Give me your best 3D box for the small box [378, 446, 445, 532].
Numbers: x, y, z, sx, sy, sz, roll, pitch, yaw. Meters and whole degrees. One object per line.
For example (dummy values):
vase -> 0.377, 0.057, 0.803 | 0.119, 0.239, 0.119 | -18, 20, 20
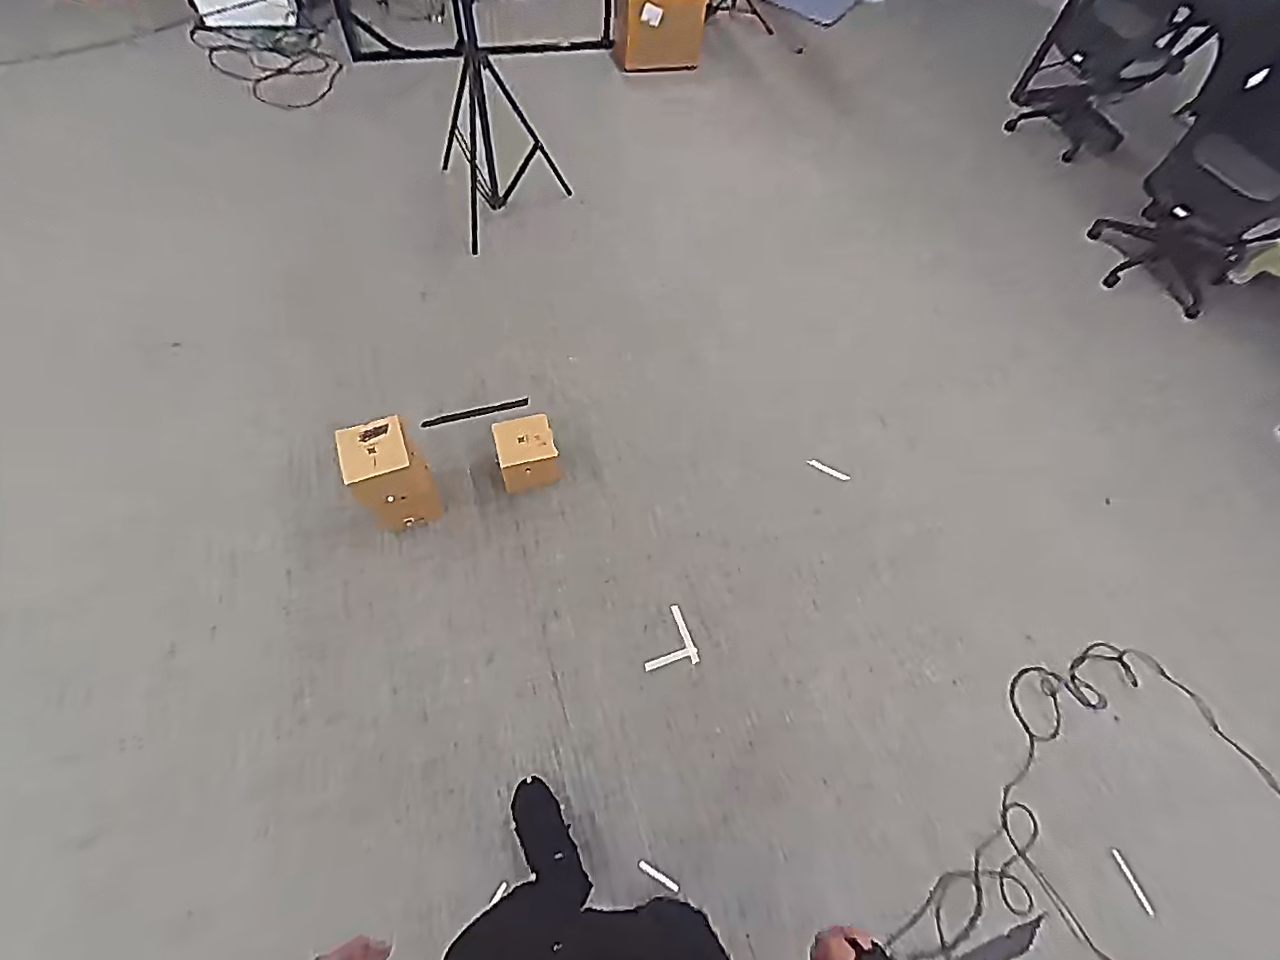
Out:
small box -> -0.709, 0.031, 1.639 | 0.168, 0.176, 0.179 | -19, 65, -15

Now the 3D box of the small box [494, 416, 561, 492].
small box -> -0.356, -0.078, 1.735 | 0.179, 0.176, 0.168 | -12, 63, -13

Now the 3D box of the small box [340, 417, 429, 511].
small box -> -0.701, -0.042, 1.493 | 0.168, 0.176, 0.179 | -18, 65, -14
